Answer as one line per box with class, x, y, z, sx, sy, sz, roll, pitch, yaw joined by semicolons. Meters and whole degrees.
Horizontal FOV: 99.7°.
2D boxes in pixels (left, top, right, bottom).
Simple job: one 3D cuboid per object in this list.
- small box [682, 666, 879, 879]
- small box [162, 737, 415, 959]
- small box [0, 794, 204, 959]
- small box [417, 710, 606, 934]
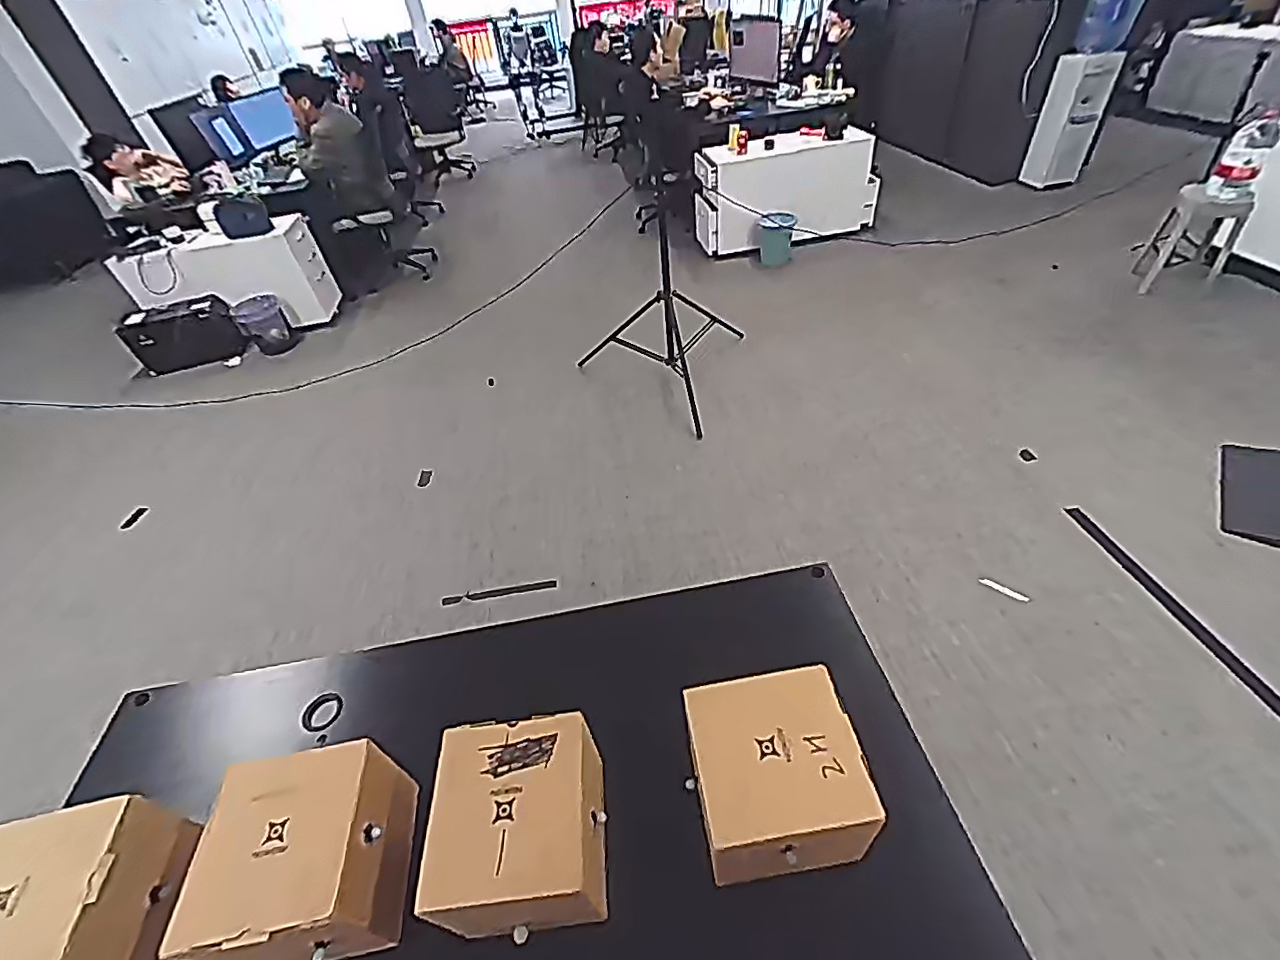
small box;0.153;0.349;0.643;0.179;0.176;0.168;-9;43;-1
small box;-0.381;0.435;0.632;0.168;0.176;0.179;-10;42;-4
small box;-0.637;0.486;0.611;0.179;0.176;0.168;-11;43;-5
small box;-0.134;0.399;0.632;0.168;0.176;0.179;-8;43;0
